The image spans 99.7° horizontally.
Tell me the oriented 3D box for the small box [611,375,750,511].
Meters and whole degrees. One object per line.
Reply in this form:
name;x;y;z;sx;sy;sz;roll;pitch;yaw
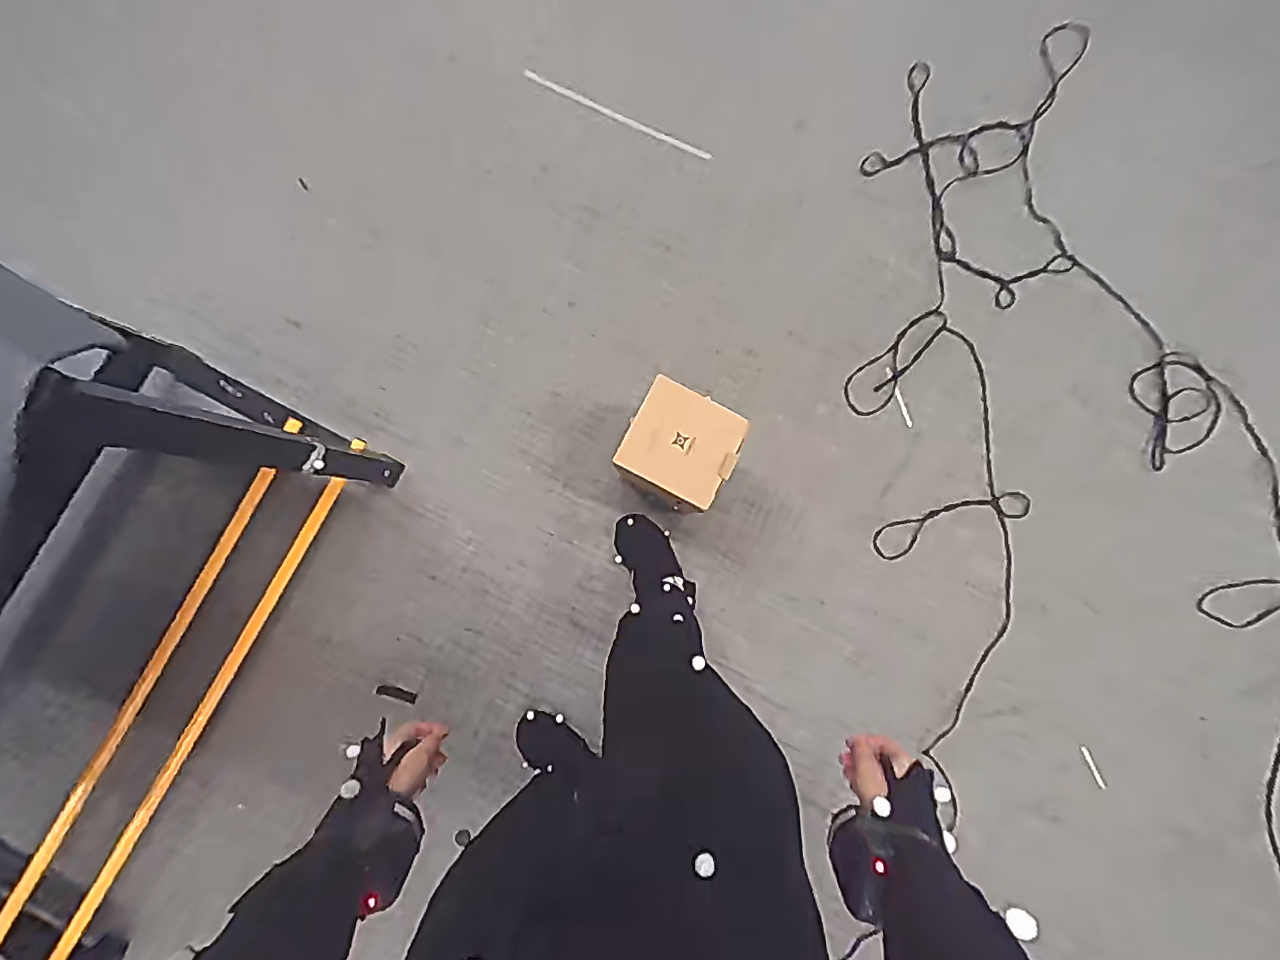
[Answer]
small box;0.066;-0.056;0.945;0.179;0.176;0.168;27;85;3
